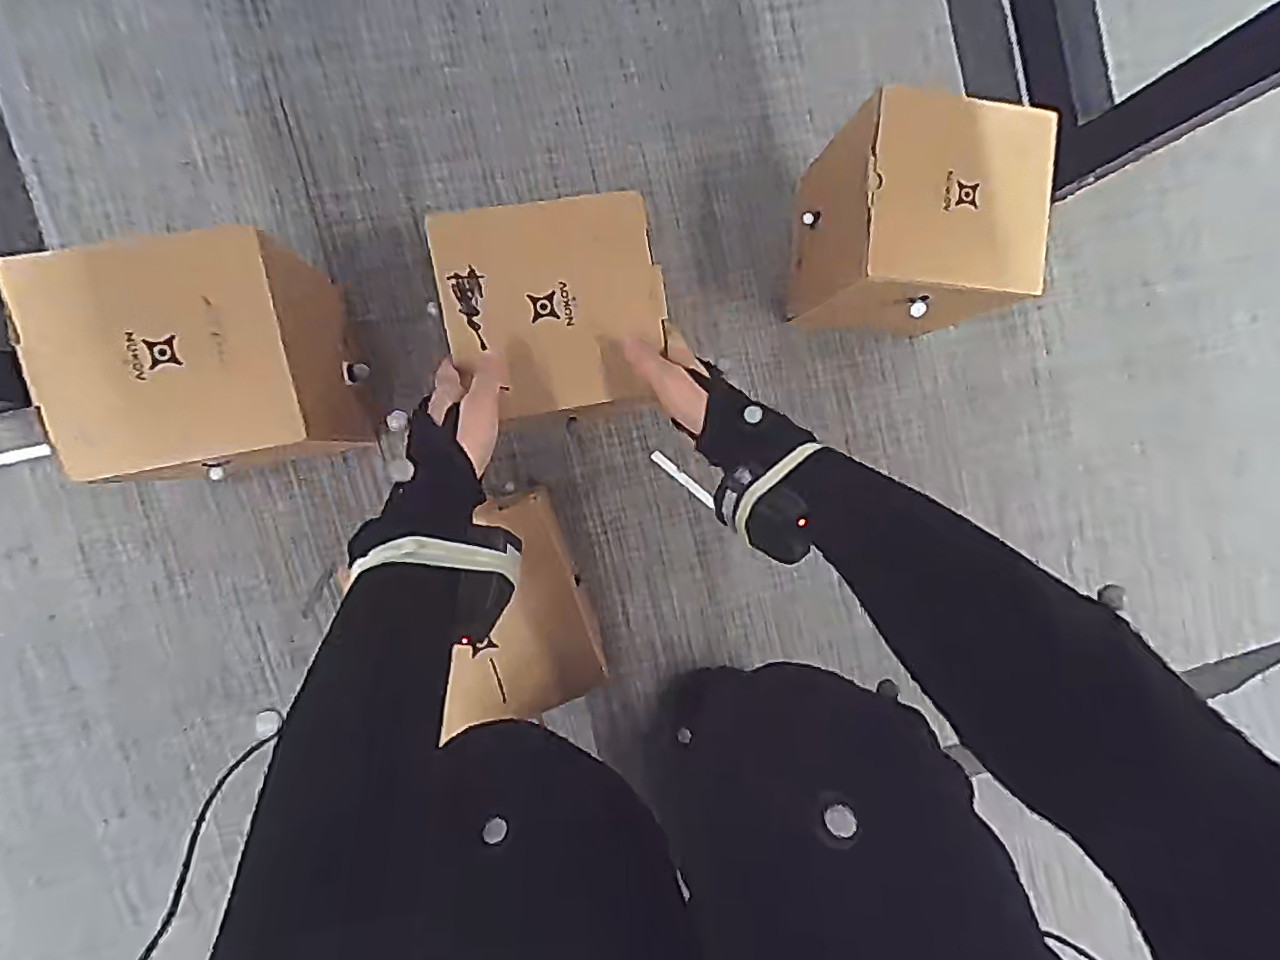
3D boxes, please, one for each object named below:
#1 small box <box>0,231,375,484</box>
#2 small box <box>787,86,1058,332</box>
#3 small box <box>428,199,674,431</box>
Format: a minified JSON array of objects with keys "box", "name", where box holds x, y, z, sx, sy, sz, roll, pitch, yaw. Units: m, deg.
[{"box":[-0.364,-0.094,0.475,0.179,0.176,0.168,-12,95,-8],"name":"small box"},{"box":[0.272,-0.255,0.555,0.179,0.176,0.168,3,93,-7],"name":"small box"},{"box":[-0.080,-0.140,0.510,0.179,0.176,0.168,-10,95,-8],"name":"small box"}]
